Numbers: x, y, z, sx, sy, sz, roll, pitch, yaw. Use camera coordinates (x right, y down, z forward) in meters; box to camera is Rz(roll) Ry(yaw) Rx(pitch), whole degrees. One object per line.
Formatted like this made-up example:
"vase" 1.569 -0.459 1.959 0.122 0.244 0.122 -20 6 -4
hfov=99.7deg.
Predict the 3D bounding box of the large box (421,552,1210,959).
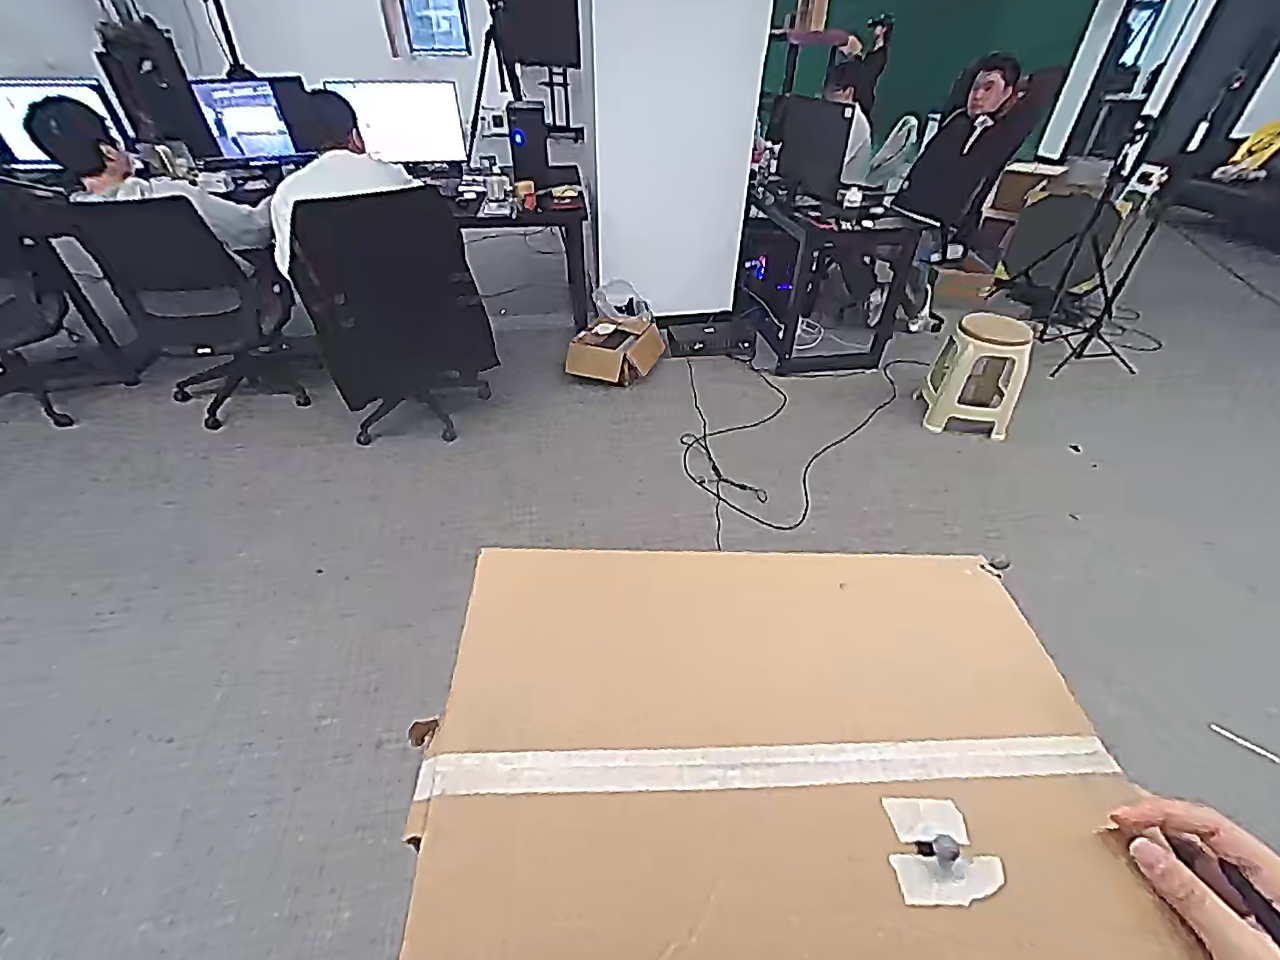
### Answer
"large box" 0.073 0.274 0.432 0.408 0.320 0.320 2 45 -6
